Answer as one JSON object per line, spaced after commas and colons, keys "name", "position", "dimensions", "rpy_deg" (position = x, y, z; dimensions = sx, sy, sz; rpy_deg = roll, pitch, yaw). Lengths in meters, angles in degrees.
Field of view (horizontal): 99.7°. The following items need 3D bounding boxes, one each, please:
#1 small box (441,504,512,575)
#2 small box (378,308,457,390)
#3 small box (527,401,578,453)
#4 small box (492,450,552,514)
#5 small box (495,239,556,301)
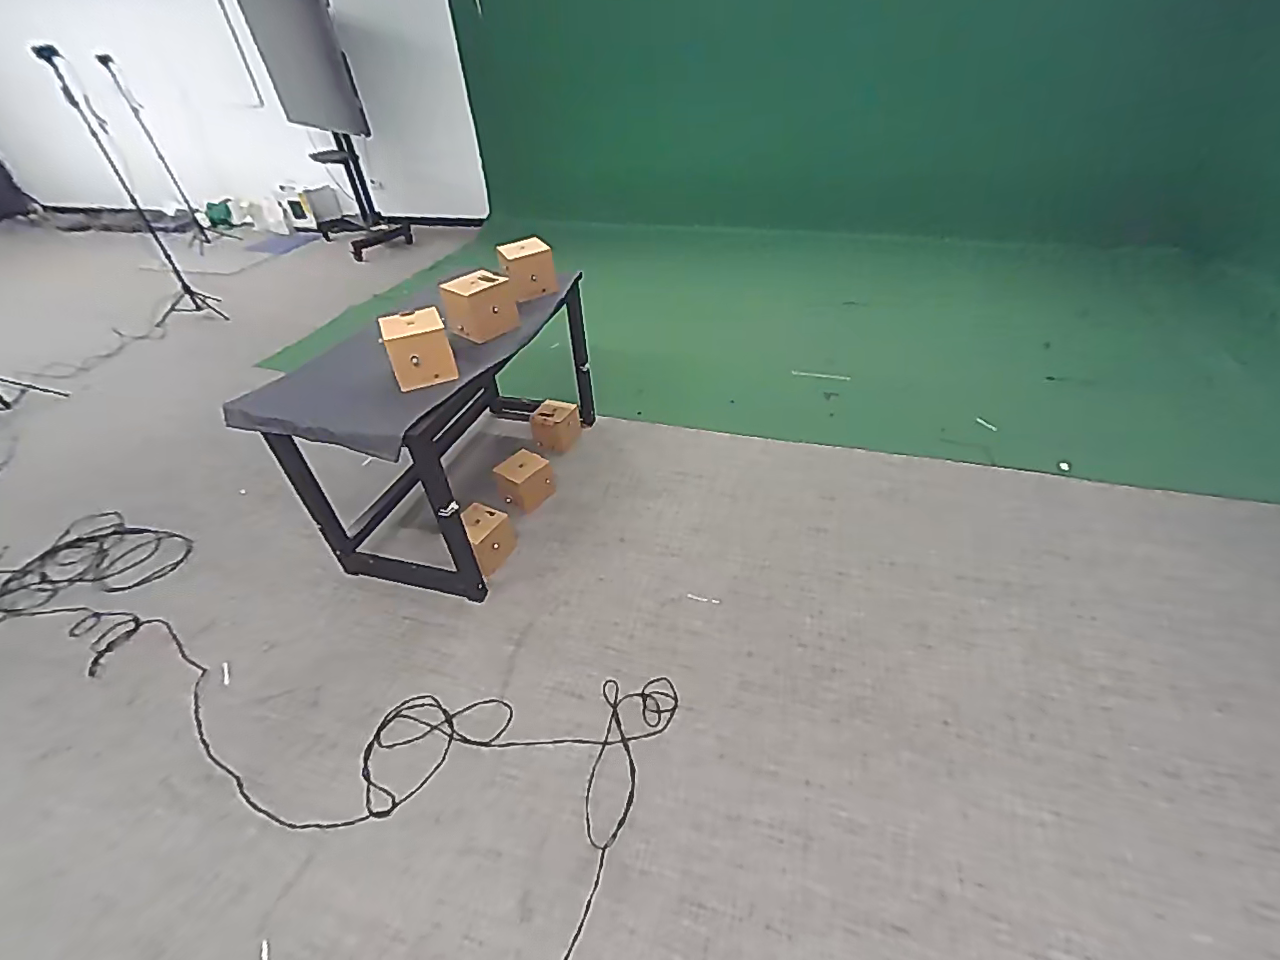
{"name": "small box", "position": [-0.596, 0.224, 2.003], "dimensions": [0.168, 0.176, 0.179], "rpy_deg": [18, 45, 23]}
{"name": "small box", "position": [-0.655, -0.382, 1.597], "dimensions": [0.168, 0.176, 0.179], "rpy_deg": [-19, 42, -18]}
{"name": "small box", "position": [-0.406, -0.250, 2.556], "dimensions": [0.168, 0.176, 0.179], "rpy_deg": [13, 42, 18]}
{"name": "small box", "position": [-0.485, 0.009, 2.252], "dimensions": [0.168, 0.176, 0.179], "rpy_deg": [23, 48, 29]}
{"name": "small box", "position": [-0.437, -0.803, 2.077], "dimensions": [0.168, 0.176, 0.179], "rpy_deg": [-22, 43, -17]}
